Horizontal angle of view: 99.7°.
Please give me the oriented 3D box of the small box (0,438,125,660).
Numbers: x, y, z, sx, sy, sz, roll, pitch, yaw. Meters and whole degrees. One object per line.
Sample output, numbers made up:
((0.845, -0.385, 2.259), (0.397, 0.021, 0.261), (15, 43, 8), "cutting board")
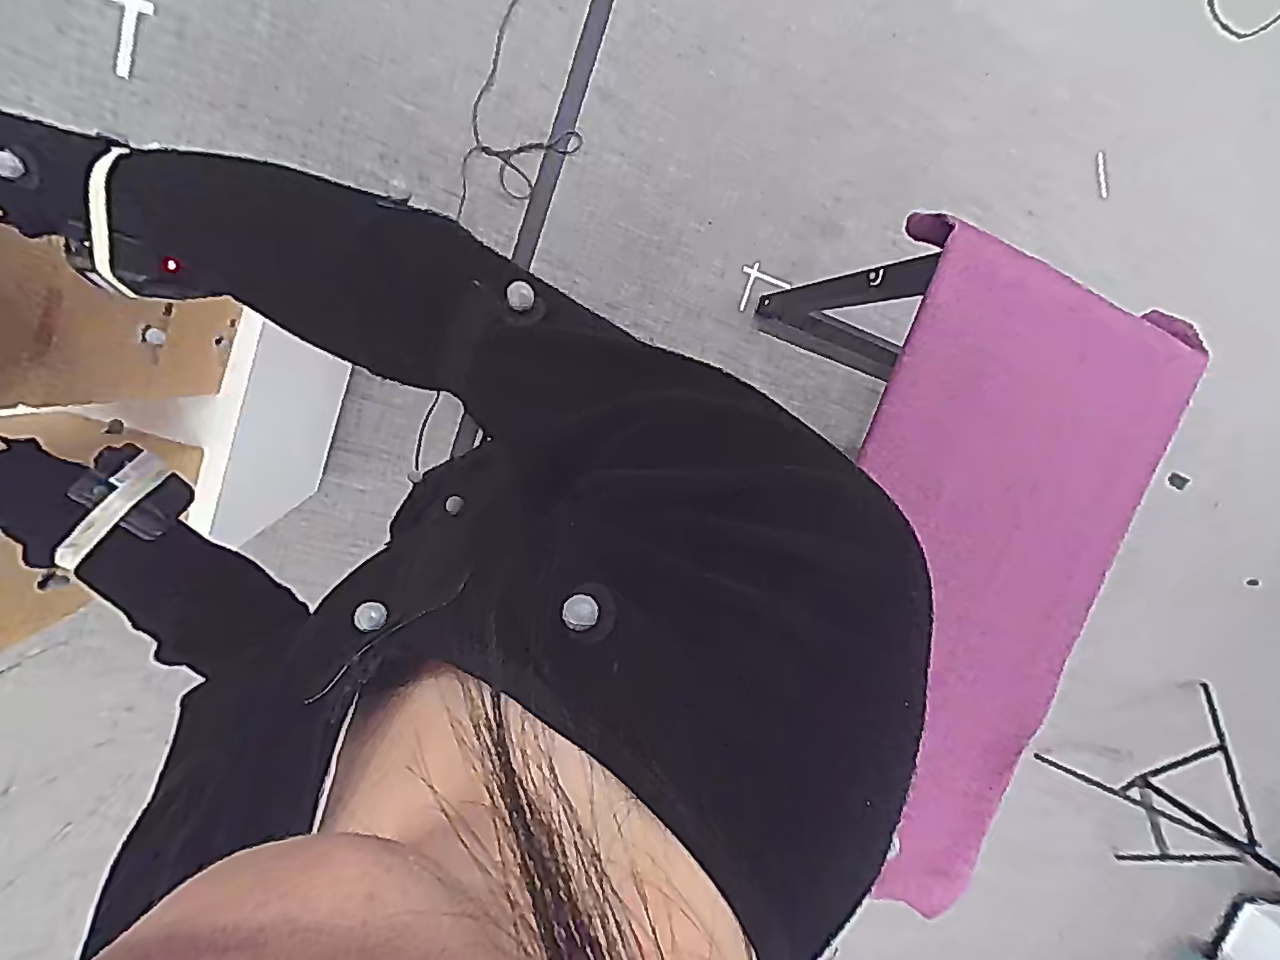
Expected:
((-0.660, 0.056, 0.521), (0.179, 0.176, 0.168), (16, 97, -16), "small box")

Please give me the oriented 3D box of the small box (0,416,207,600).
((-0.699, 0.024, 0.675), (0.179, 0.176, 0.168), (18, 98, -16), "small box")

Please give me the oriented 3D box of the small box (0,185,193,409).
((-0.569, -0.175, 0.493), (0.179, 0.176, 0.168), (19, 97, -18), "small box")
